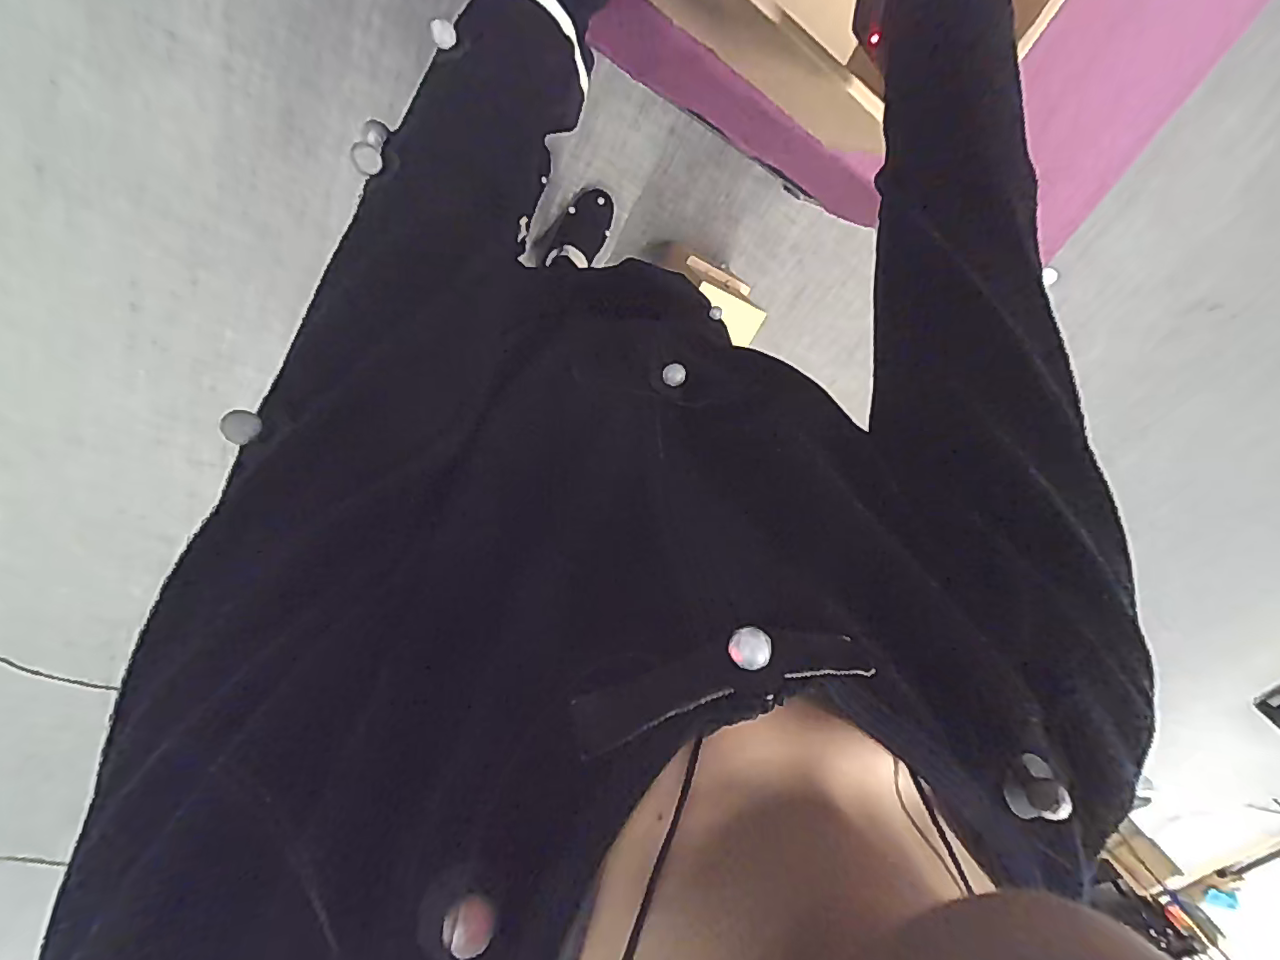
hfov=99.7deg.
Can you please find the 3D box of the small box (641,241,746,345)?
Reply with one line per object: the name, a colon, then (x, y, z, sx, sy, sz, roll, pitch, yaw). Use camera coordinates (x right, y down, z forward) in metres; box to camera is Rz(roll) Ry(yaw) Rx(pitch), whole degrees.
small box: (0.124, -0.465, 1.331, 0.179, 0.176, 0.168, 19, 118, -24)
